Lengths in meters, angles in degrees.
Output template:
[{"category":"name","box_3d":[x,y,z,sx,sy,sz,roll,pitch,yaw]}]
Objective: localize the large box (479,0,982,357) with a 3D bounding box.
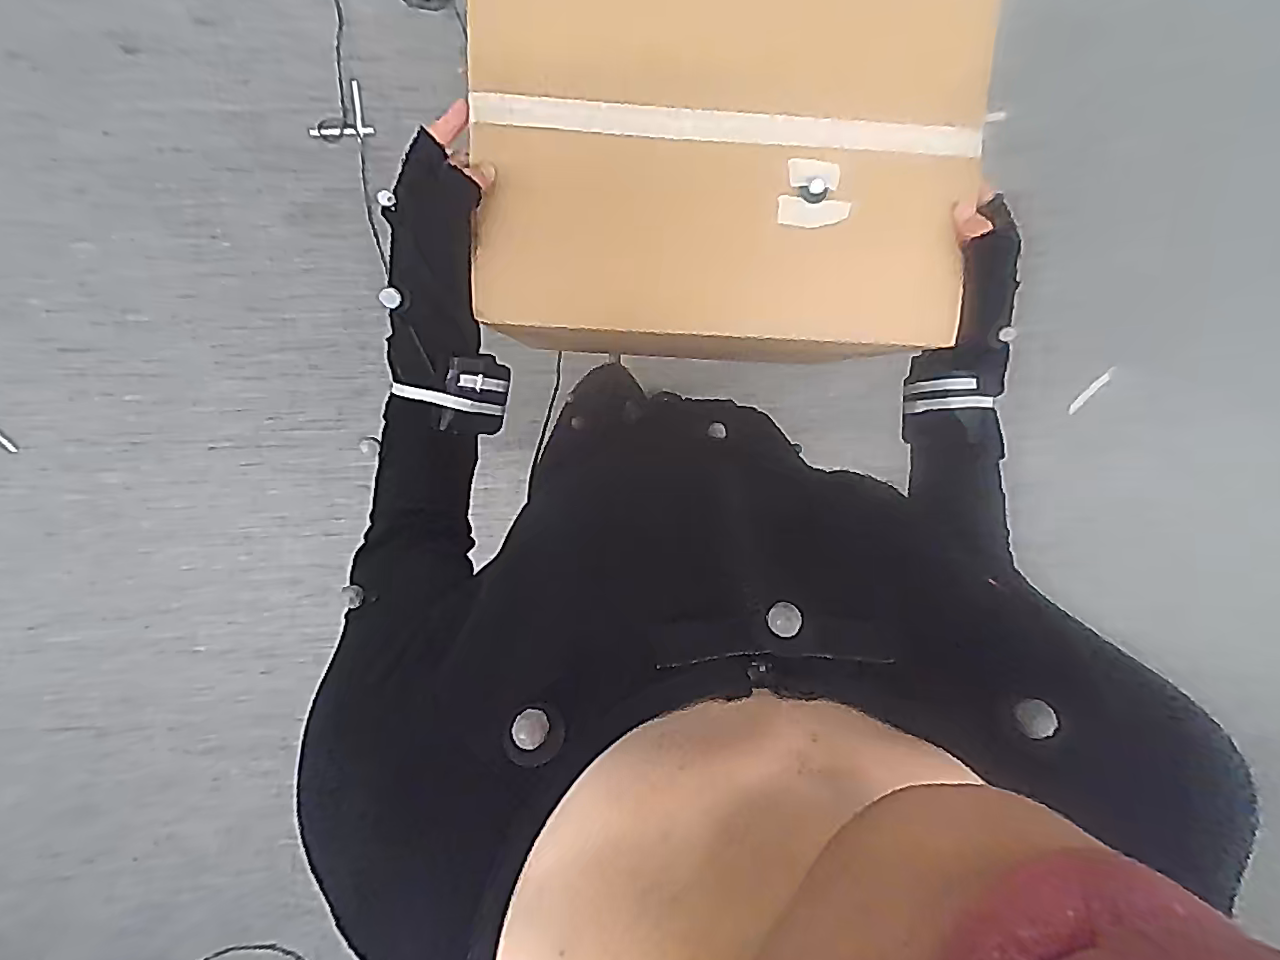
[{"category":"large box","box_3d":[0.062,-0.306,0.581,0.408,0.320,0.320,2,99,-4]}]
